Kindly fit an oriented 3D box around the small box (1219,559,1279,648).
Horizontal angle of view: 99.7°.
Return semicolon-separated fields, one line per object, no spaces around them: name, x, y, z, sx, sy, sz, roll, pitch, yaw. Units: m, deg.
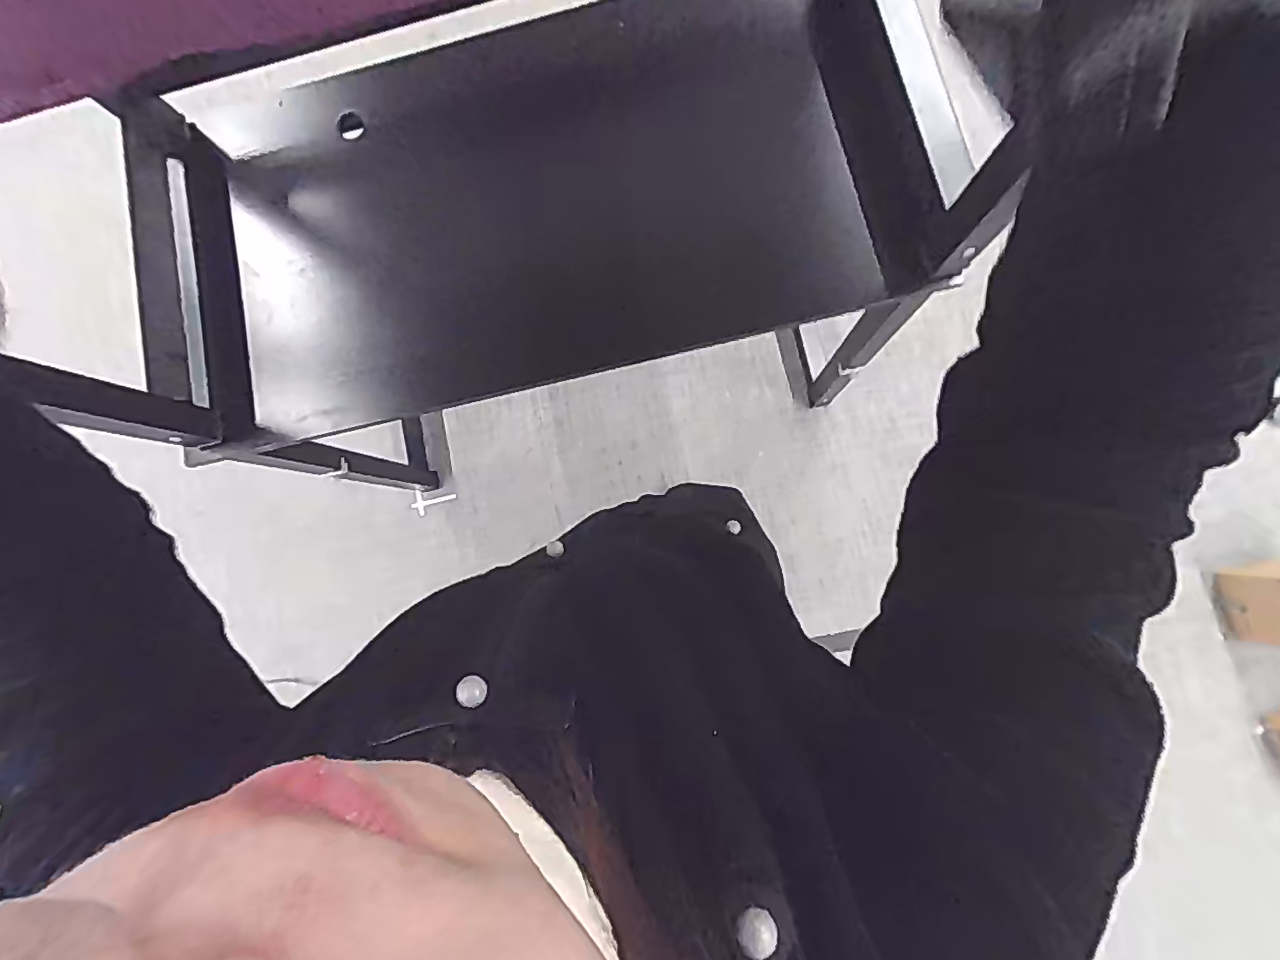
small box;1.512;0.286;1.239;0.168;0.176;0.179;-13;84;4

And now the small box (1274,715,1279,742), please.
small box;1.594;0.609;1.200;0.179;0.176;0.168;-20;83;3
